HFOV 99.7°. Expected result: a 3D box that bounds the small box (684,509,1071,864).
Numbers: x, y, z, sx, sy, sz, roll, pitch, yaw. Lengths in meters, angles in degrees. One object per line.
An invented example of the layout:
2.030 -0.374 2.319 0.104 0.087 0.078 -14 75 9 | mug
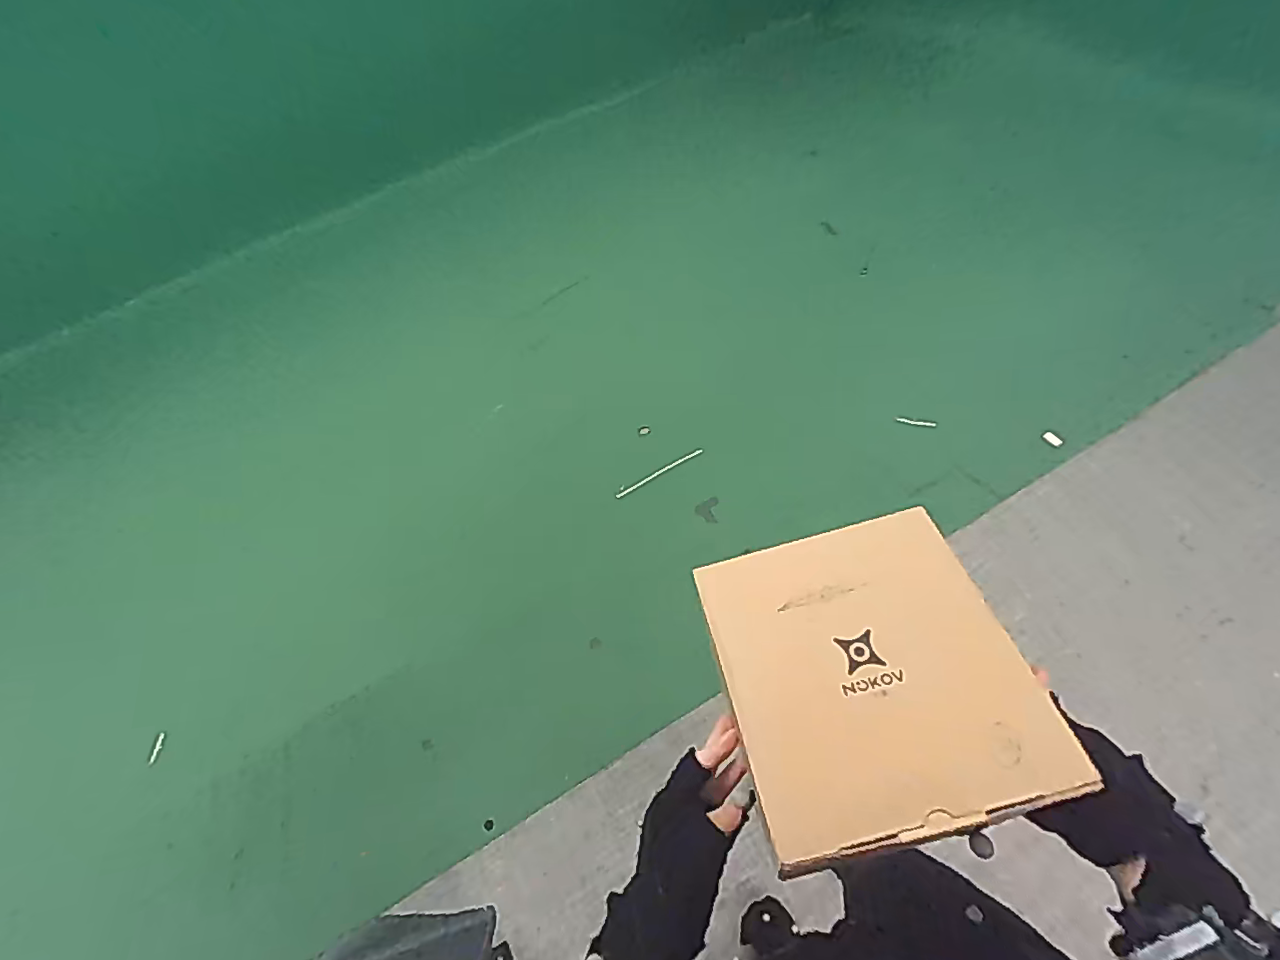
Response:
0.141 0.154 0.389 0.168 0.176 0.179 -16 51 1 | small box
